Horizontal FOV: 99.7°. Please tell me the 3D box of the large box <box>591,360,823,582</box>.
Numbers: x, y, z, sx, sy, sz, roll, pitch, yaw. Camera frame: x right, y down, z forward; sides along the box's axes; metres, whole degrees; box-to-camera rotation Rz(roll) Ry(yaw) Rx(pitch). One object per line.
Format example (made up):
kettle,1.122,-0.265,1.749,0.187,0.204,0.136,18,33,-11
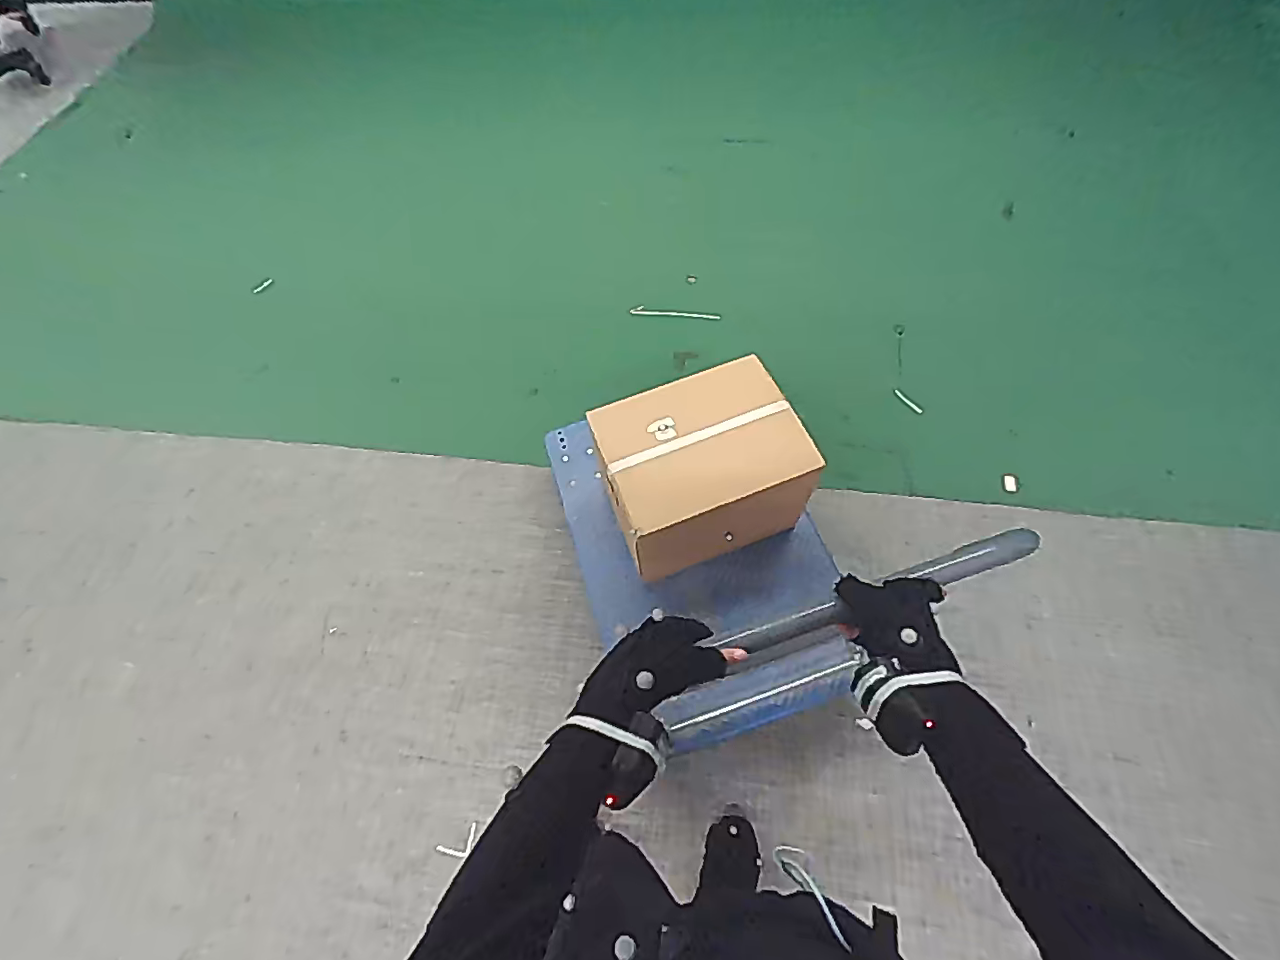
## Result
large box,0.141,-0.010,1.255,0.408,0.320,0.320,-21,62,-7
